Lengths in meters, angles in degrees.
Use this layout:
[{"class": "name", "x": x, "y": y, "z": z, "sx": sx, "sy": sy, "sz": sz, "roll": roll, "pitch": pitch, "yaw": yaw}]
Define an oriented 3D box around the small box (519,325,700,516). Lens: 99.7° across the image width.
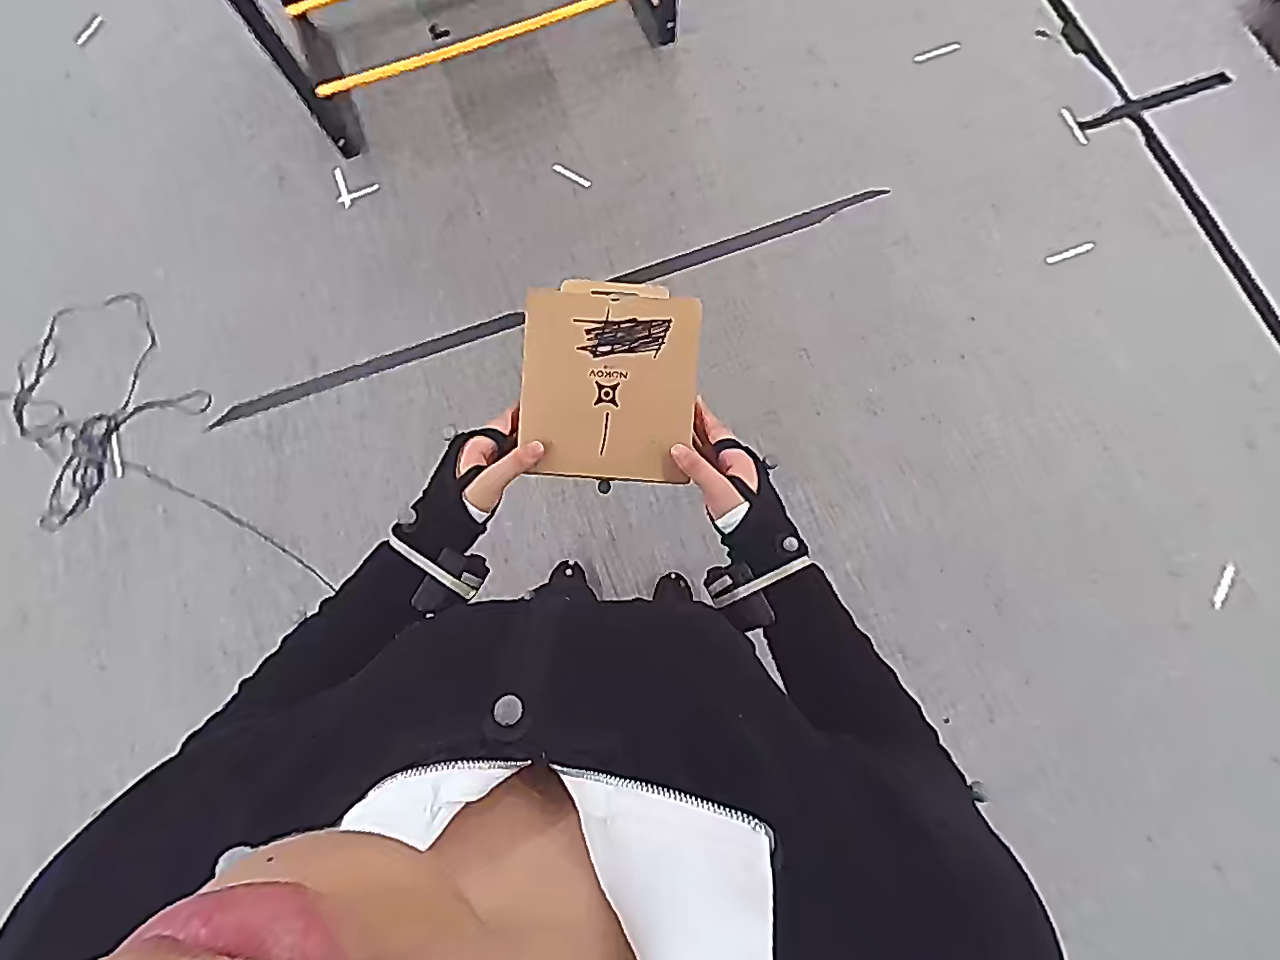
[{"class": "small box", "x": -0.030, "y": -0.057, "z": 0.598, "sx": 0.168, "sy": 0.176, "sz": 0.179, "roll": 3, "pitch": 90, "yaw": 0}]
